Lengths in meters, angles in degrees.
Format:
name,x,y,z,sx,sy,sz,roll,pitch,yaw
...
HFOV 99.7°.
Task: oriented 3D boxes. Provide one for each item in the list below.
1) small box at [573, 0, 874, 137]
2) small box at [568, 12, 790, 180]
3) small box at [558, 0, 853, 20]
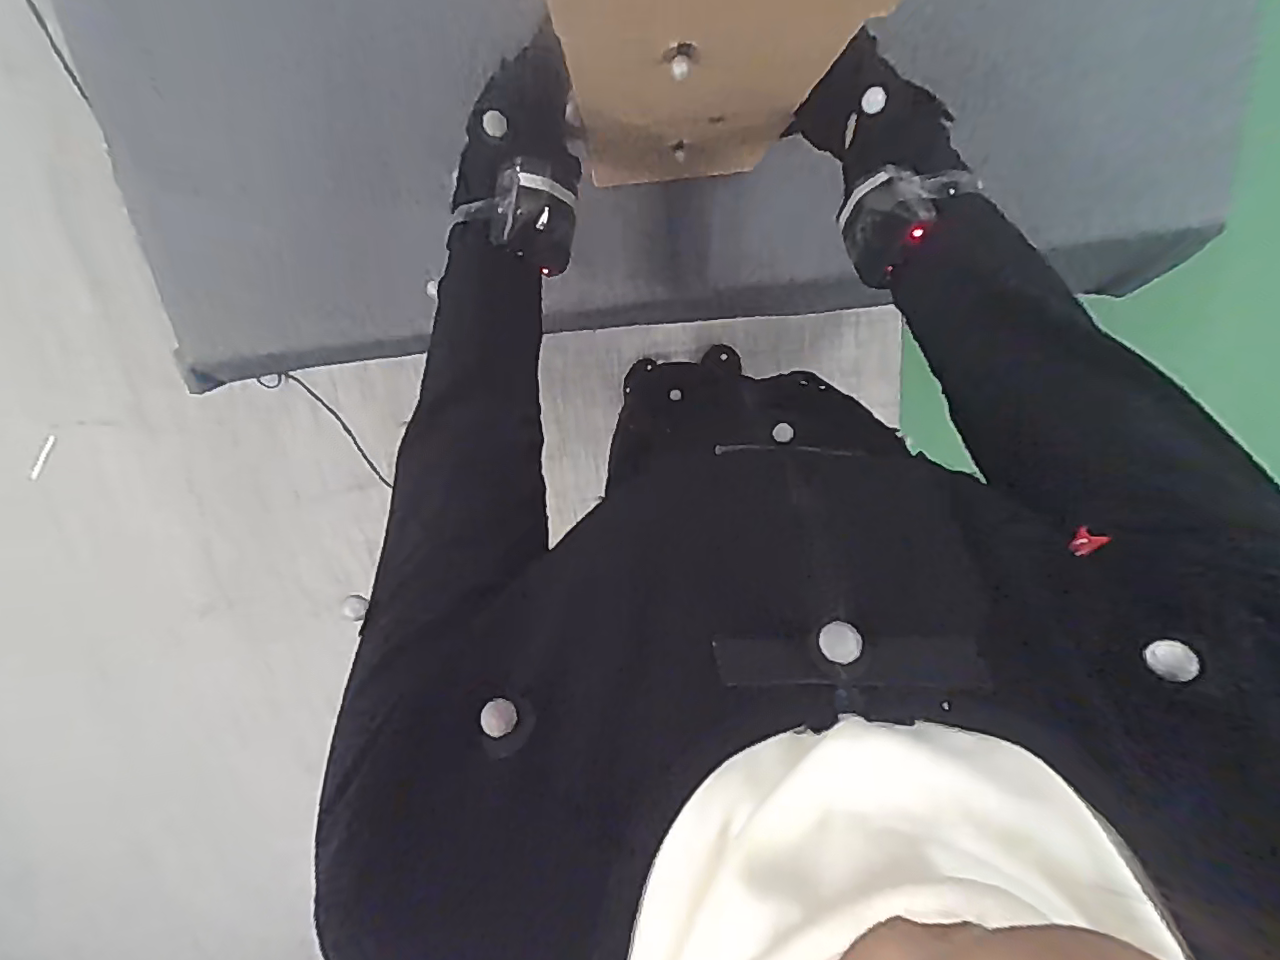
name,x,y,z,sx,sy,sz,roll,pitch,yaw
small box,0.034,-0.351,0.345,0.168,0.176,0.179,-7,107,1
small box,0.029,-0.393,0.500,0.179,0.176,0.168,-6,107,0
small box,0.037,-0.298,0.186,0.179,0.176,0.168,-3,107,0
